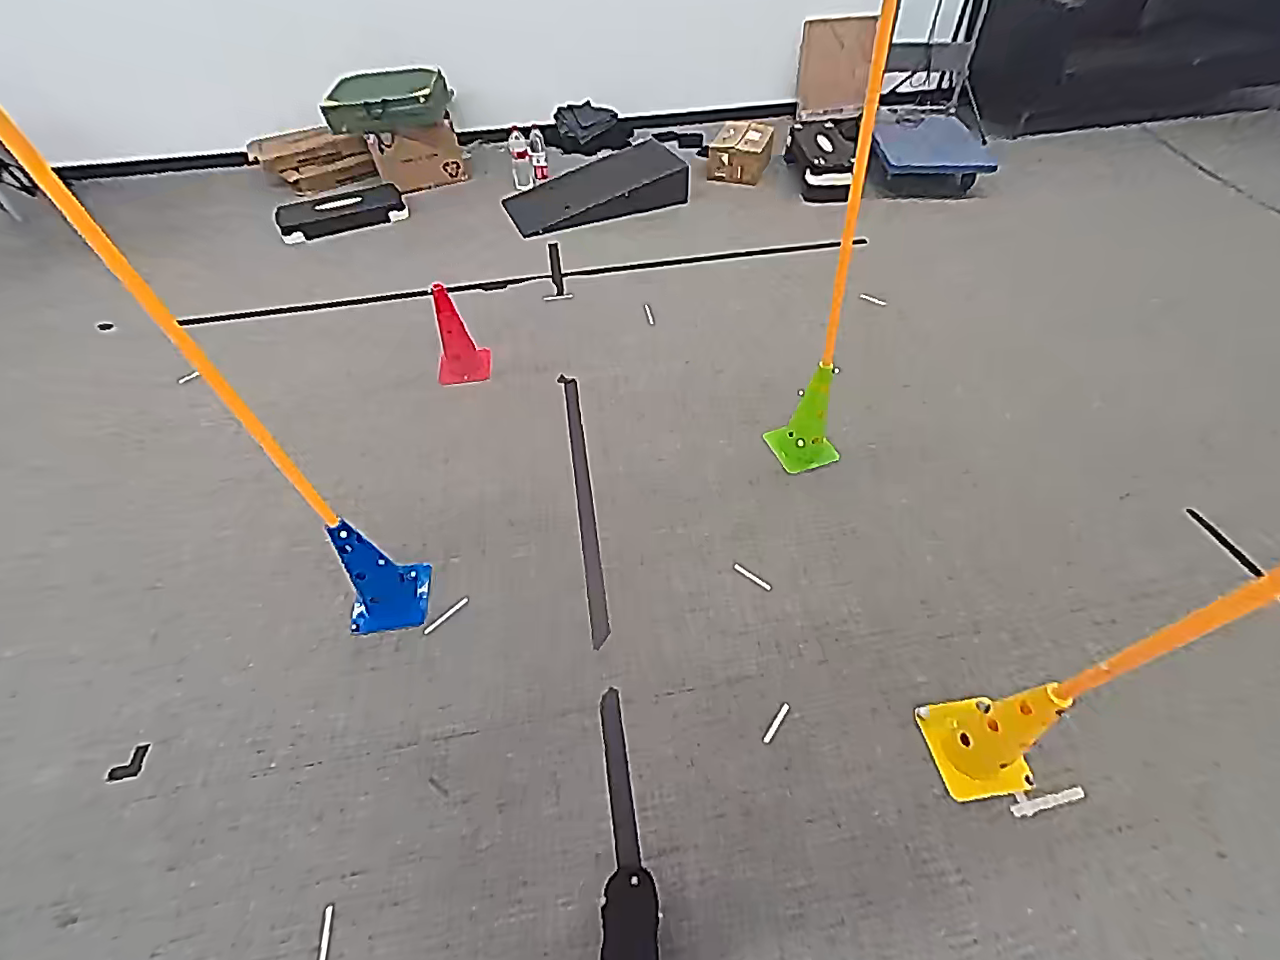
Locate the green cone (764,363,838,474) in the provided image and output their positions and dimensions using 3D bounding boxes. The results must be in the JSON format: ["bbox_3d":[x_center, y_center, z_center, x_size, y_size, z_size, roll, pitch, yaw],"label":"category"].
[{"bbox_3d":[0.545,-0.220,1.720,0.200,0.368,0.202,-17,53,-12],"label":"green cone"}]

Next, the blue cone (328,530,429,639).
[{"bbox_3d":[-0.696,0.239,1.388,0.193,0.380,0.192,-7,50,-3],"label":"blue cone"}]
